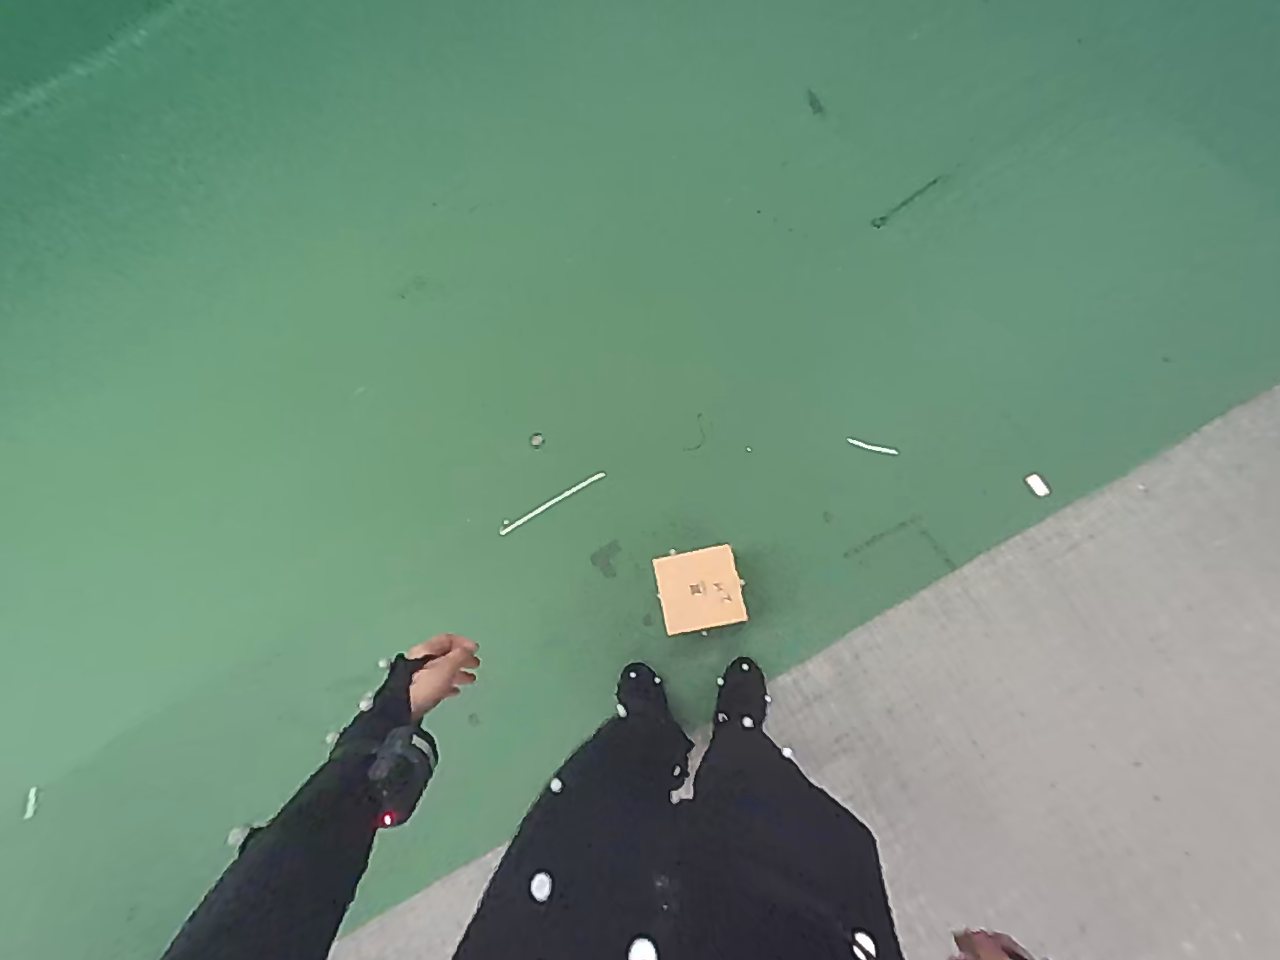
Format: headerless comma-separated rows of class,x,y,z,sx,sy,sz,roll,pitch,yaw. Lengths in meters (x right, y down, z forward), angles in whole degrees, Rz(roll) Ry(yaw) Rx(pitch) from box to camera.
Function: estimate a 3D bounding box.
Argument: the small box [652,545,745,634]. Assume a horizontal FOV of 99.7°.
small box,0.134,0.252,1.233,0.179,0.176,0.168,-12,76,4
